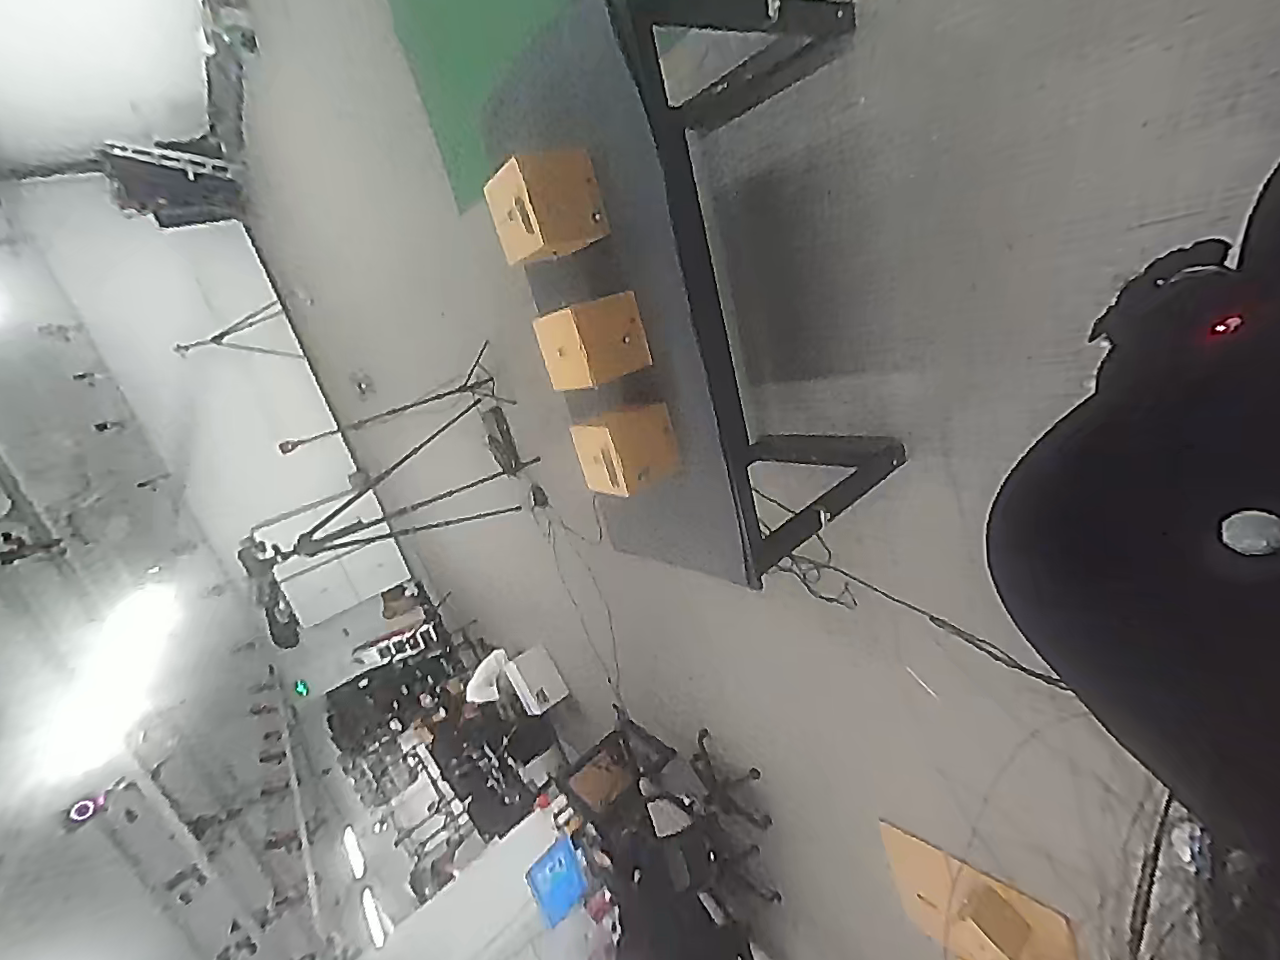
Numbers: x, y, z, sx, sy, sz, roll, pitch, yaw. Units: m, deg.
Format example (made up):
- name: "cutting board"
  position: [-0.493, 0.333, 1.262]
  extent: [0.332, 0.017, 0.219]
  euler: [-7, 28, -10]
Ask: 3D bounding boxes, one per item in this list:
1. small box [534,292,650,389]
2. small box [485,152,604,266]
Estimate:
- name: "small box"
  position: [-0.105, -0.309, 1.208]
  extent: [0.179, 0.176, 0.168]
  euler: [6, 117, 52]
- name: "small box"
  position: [-0.193, -0.568, 1.137]
  extent: [0.179, 0.176, 0.168]
  euler: [7, 118, 53]
